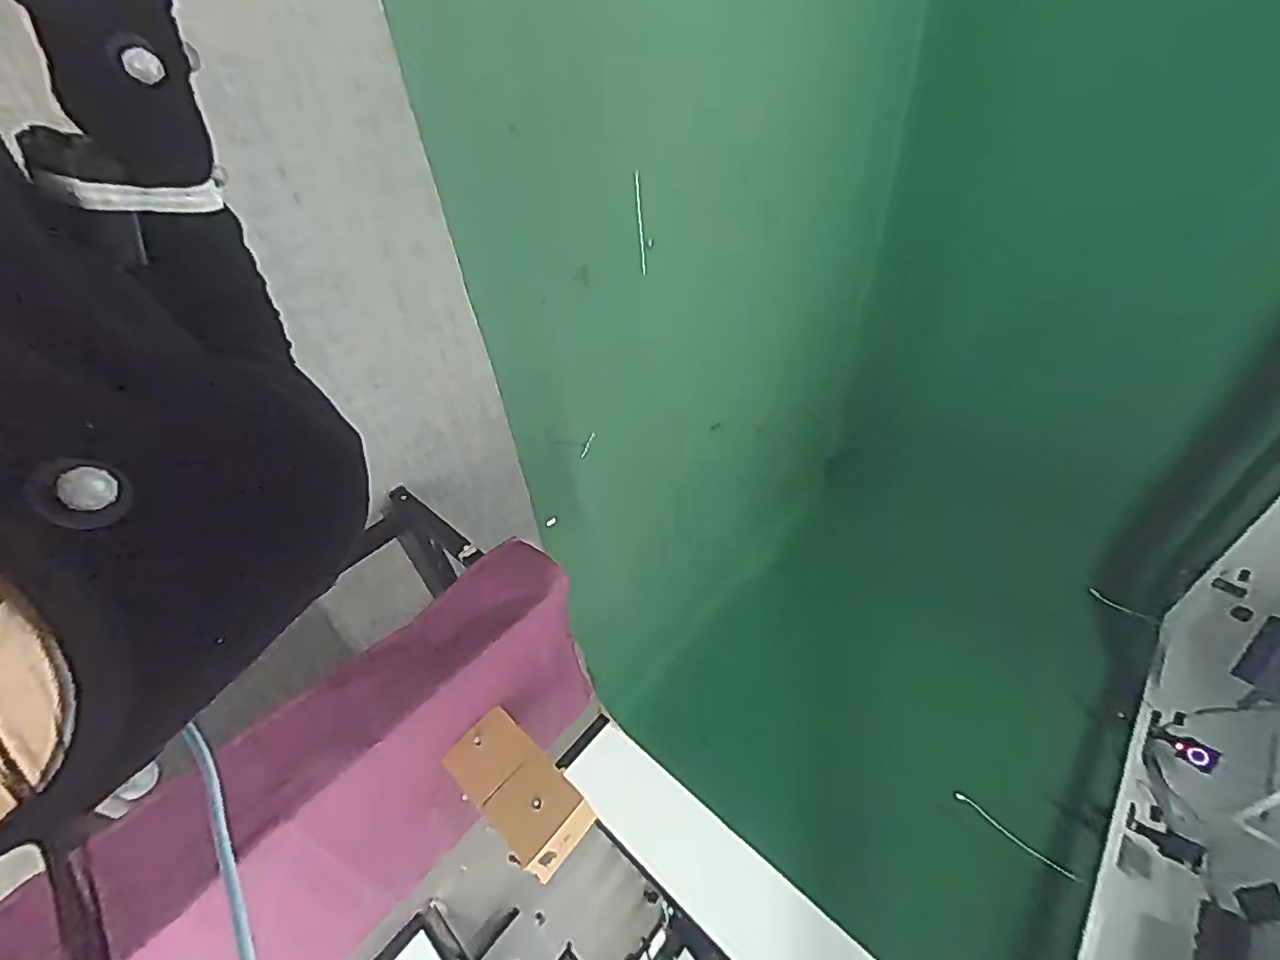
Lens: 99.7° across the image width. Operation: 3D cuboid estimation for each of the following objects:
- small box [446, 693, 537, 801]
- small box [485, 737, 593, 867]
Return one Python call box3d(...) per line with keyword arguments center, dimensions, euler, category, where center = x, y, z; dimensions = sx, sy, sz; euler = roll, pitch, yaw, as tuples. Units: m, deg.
box3d(center=(-0.361, 0.681, 1.360), dimensions=(0.179, 0.176, 0.168), euler=(-41, 143, -27), category="small box")
box3d(center=(-0.241, 0.751, 1.271), dimensions=(0.179, 0.176, 0.168), euler=(-41, 143, -28), category="small box")
